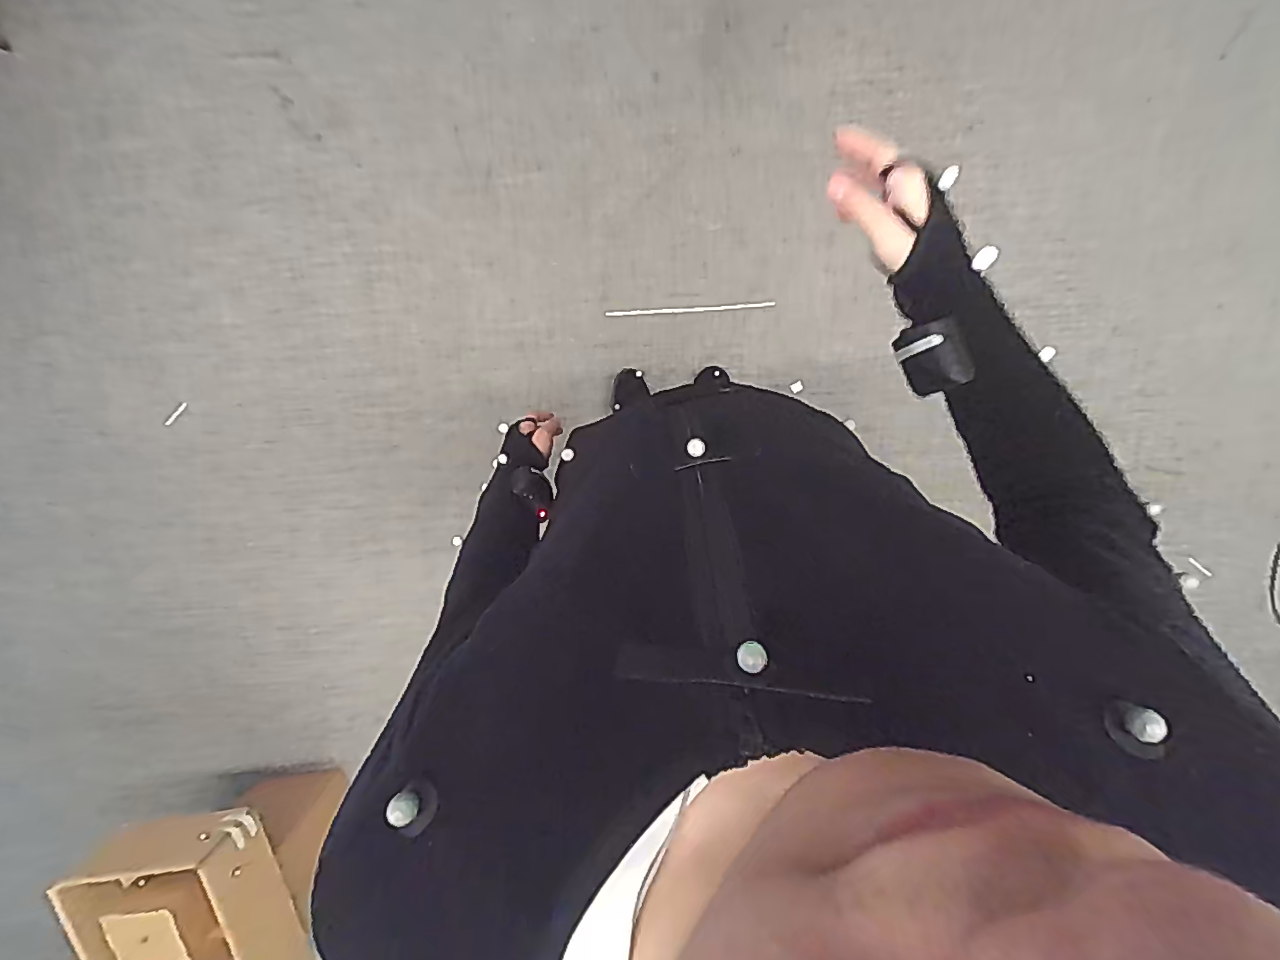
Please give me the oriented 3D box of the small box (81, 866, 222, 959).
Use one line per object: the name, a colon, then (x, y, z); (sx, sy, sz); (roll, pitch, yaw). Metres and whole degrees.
small box: (-1.198, 1.101, 1.340); (0.179, 0.176, 0.168); (-7, 102, 1)
